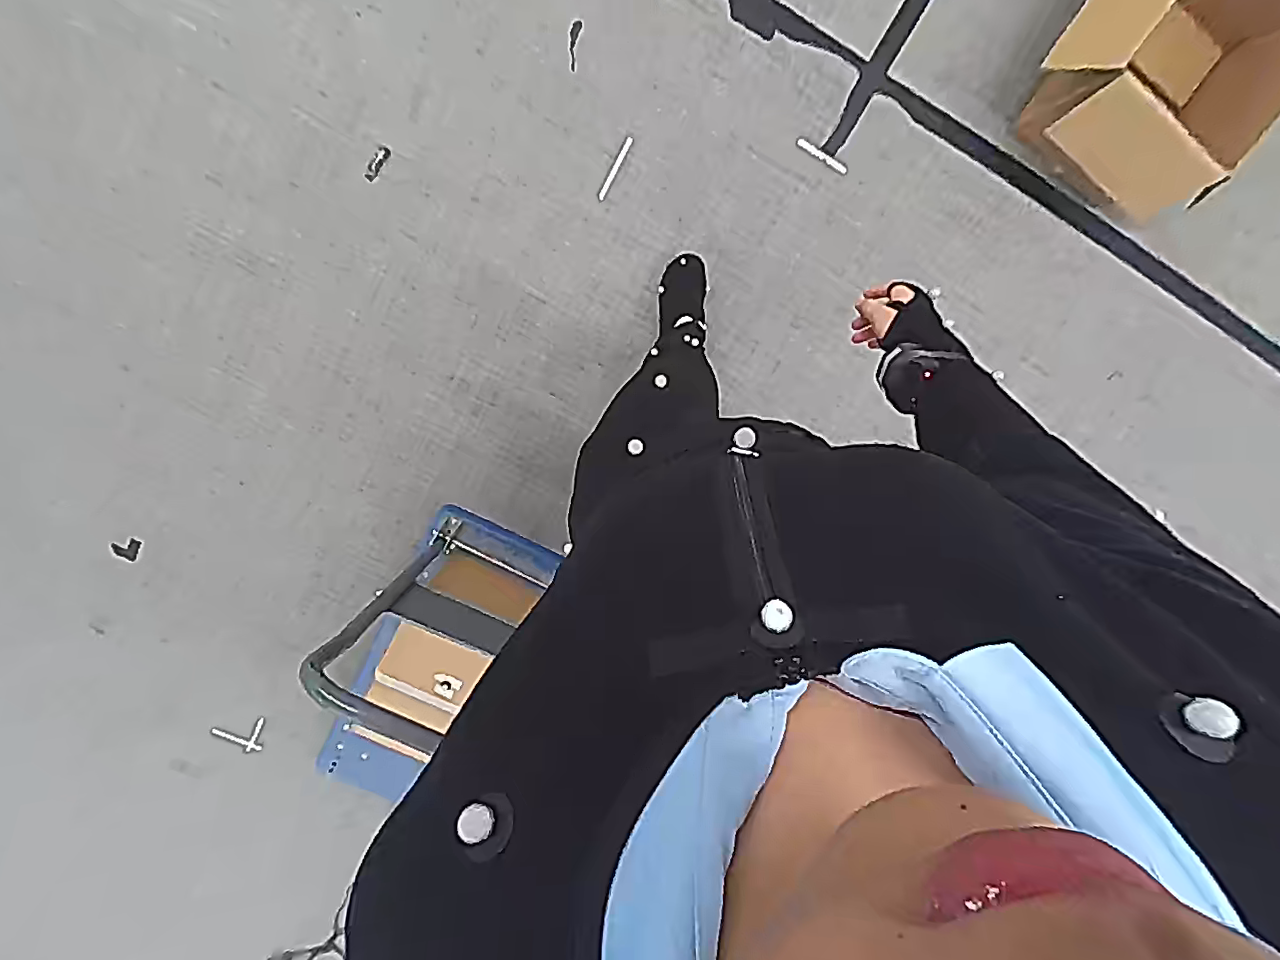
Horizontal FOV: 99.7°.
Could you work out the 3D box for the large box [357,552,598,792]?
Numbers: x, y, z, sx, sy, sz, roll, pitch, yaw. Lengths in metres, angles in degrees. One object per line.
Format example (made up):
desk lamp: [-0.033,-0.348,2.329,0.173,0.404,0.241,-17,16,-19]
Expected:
large box: [-0.350,0.431,1.270,0.408,0.320,0.320,28,102,-7]
